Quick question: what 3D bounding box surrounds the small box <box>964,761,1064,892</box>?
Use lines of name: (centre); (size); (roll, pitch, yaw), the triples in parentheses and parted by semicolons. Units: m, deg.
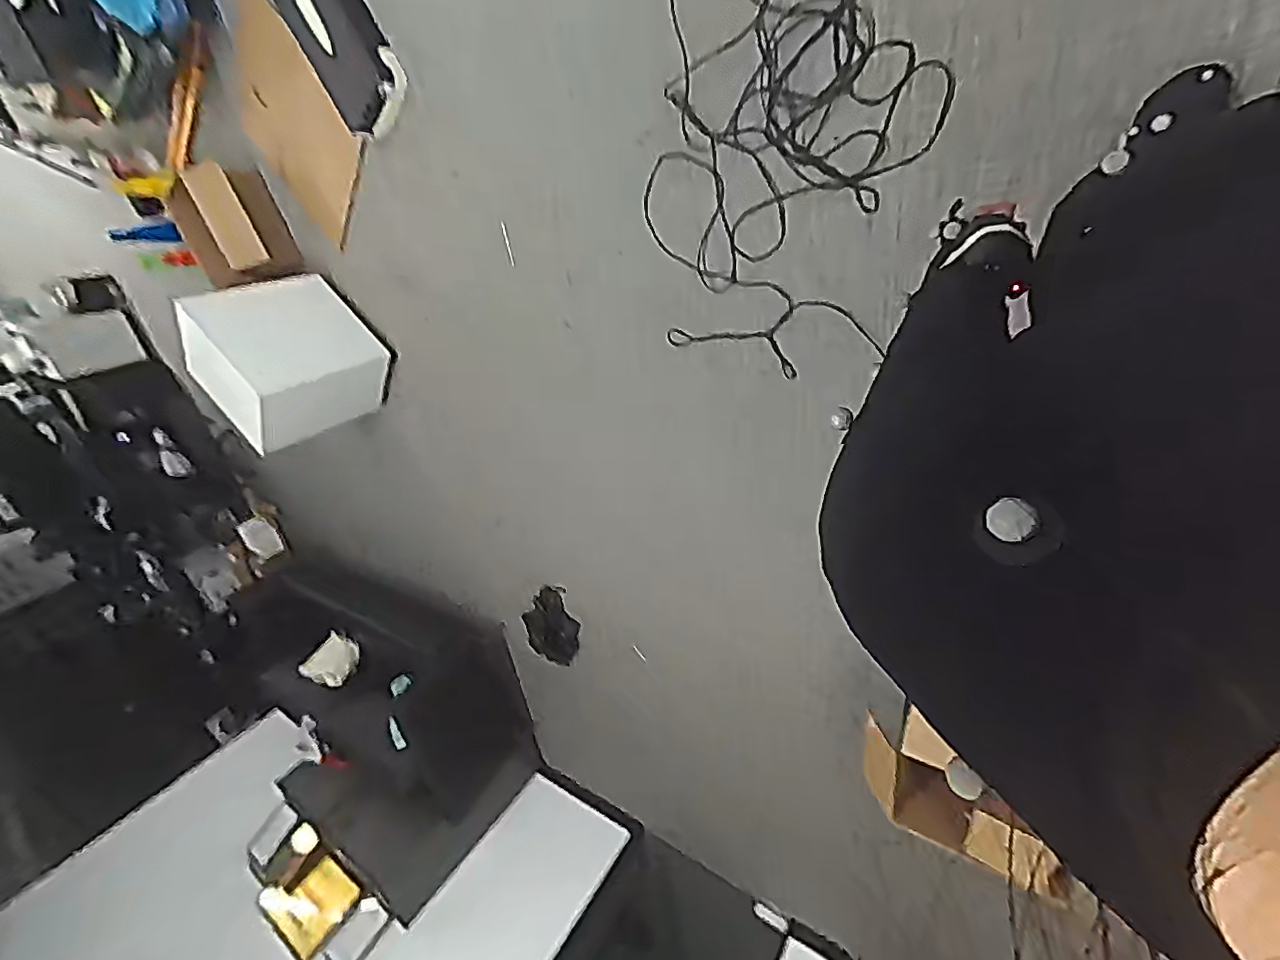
small box: (0.919, 0.841, 1.327); (0.168, 0.176, 0.179); (15, 122, 34)
